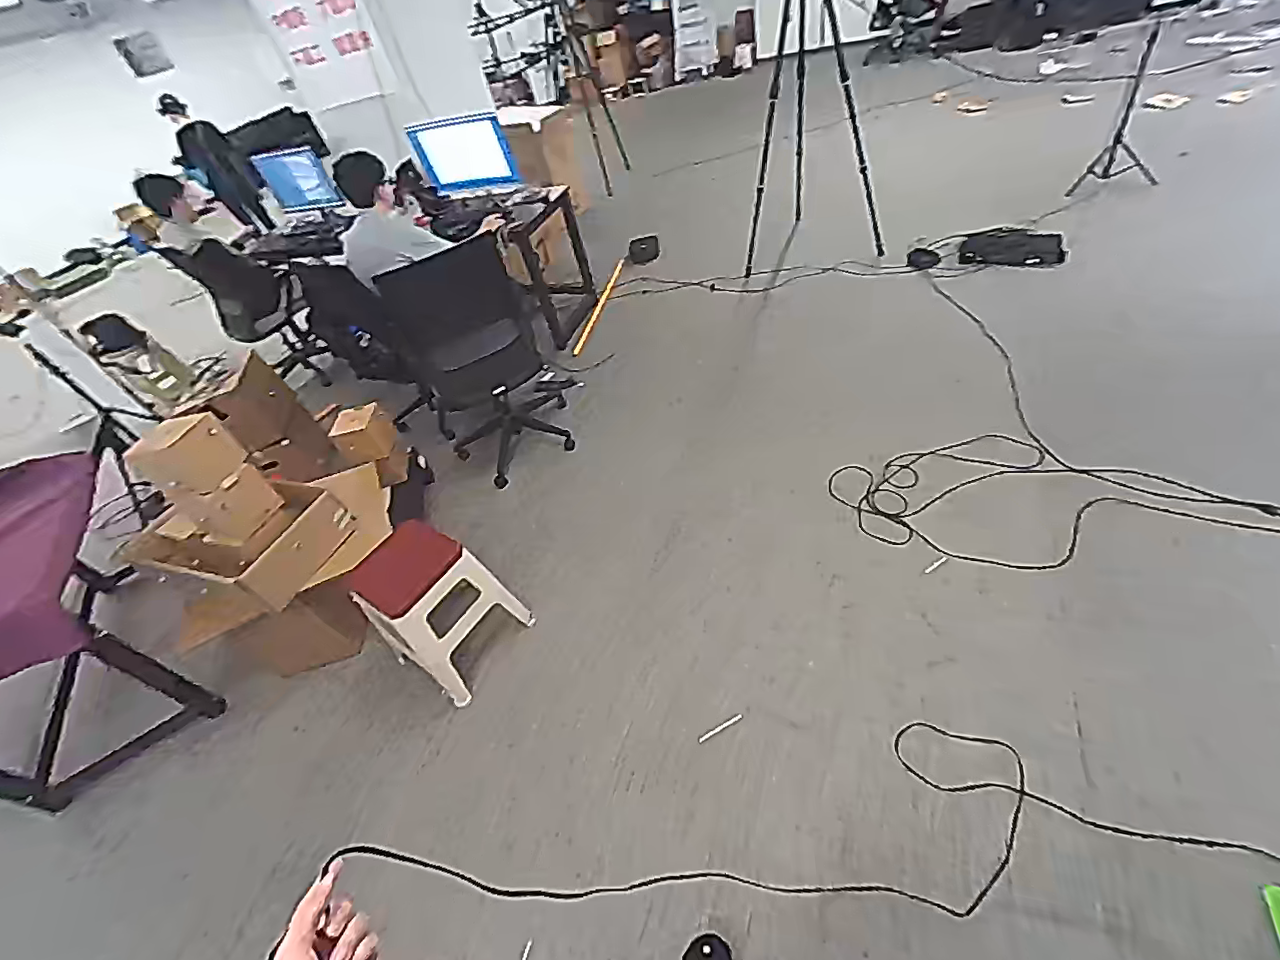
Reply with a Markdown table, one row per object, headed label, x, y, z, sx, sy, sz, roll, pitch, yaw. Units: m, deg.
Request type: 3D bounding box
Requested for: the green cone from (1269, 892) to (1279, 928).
| label | x | y | z | sx | sy | sz | roll | pitch | yaw |
| --- | --- | --- | --- | --- | --- | --- | --- | --- | --- |
| green cone | 1.302 | 0.788 | 0.887 | 0.200 | 0.368 | 0.202 | 4 | 46 | 21 |
